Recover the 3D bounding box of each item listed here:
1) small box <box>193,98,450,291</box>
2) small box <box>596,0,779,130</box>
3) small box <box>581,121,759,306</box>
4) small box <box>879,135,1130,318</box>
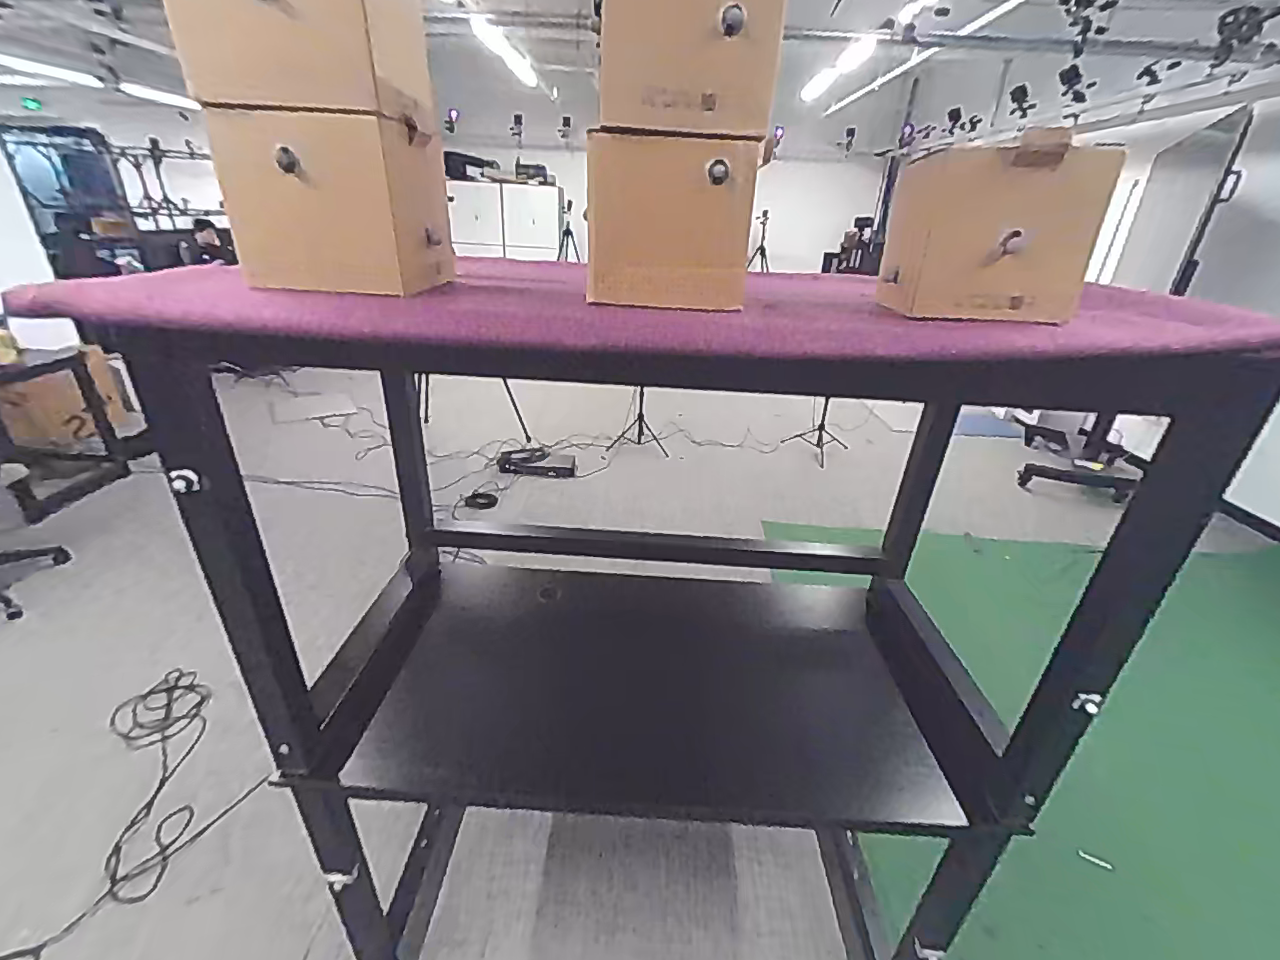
[{"bbox_3d":[-0.333,-0.311,0.608,0.179,0.176,0.168,3,27,0],"label":"small box"},{"bbox_3d":[0.043,-0.443,0.555,0.168,0.176,0.179,4,24,-2],"label":"small box"},{"bbox_3d":[0.029,-0.297,0.624,0.179,0.176,0.168,3,25,1],"label":"small box"},{"bbox_3d":[0.391,-0.284,0.621,0.168,0.176,0.179,5,25,8],"label":"small box"}]
